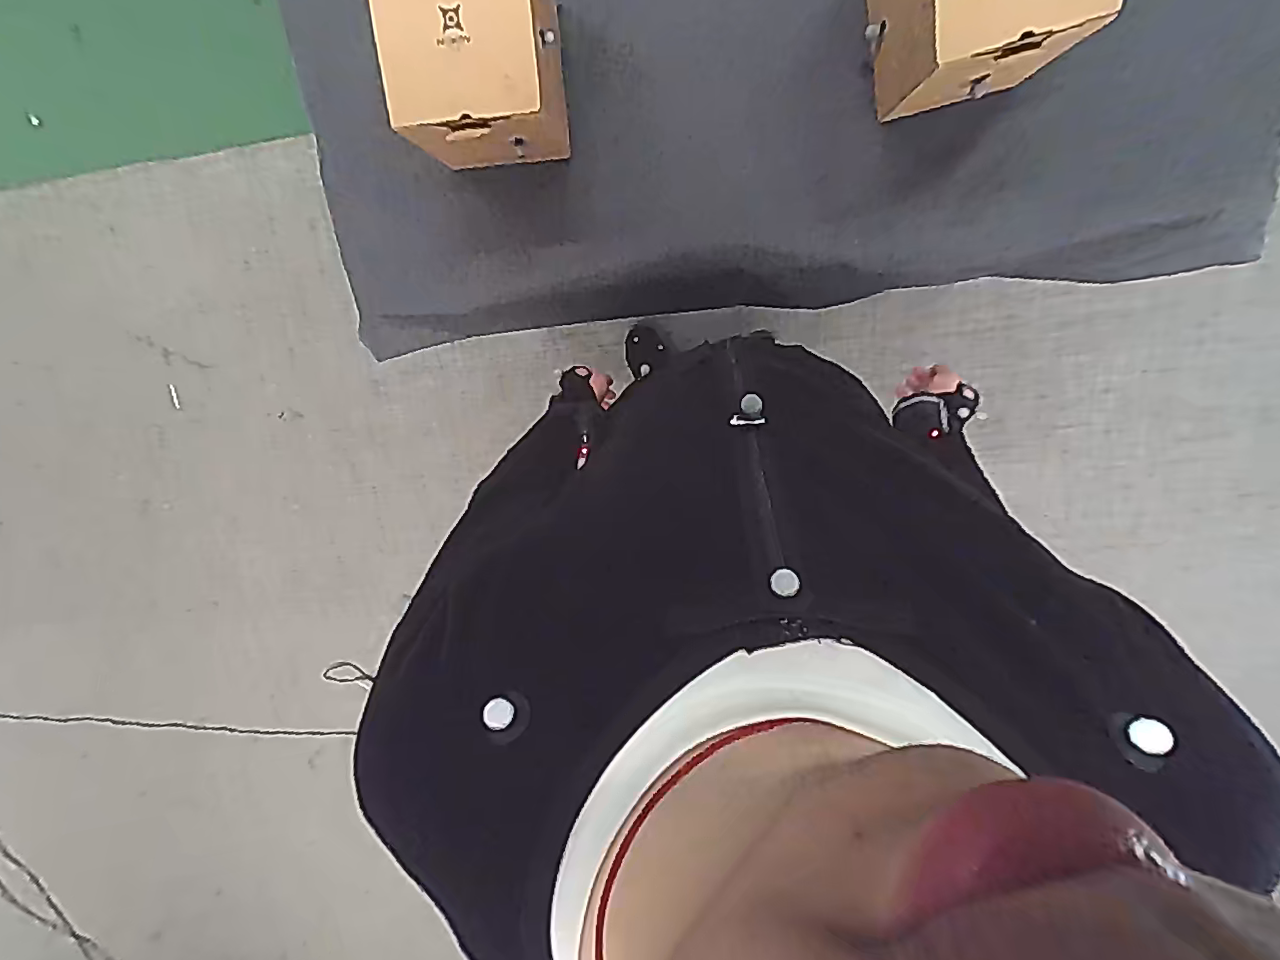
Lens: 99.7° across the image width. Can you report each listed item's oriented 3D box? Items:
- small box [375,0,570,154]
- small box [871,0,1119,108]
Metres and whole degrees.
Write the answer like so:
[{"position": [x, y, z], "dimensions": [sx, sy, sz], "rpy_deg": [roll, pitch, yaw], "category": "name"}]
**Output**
[{"position": [-0.179, -0.491, 0.617], "dimensions": [0.168, 0.176, 0.179], "rpy_deg": [-3, 106, 3], "category": "small box"}, {"position": [0.356, -0.523, 0.567], "dimensions": [0.168, 0.176, 0.179], "rpy_deg": [-11, 107, 7], "category": "small box"}]
